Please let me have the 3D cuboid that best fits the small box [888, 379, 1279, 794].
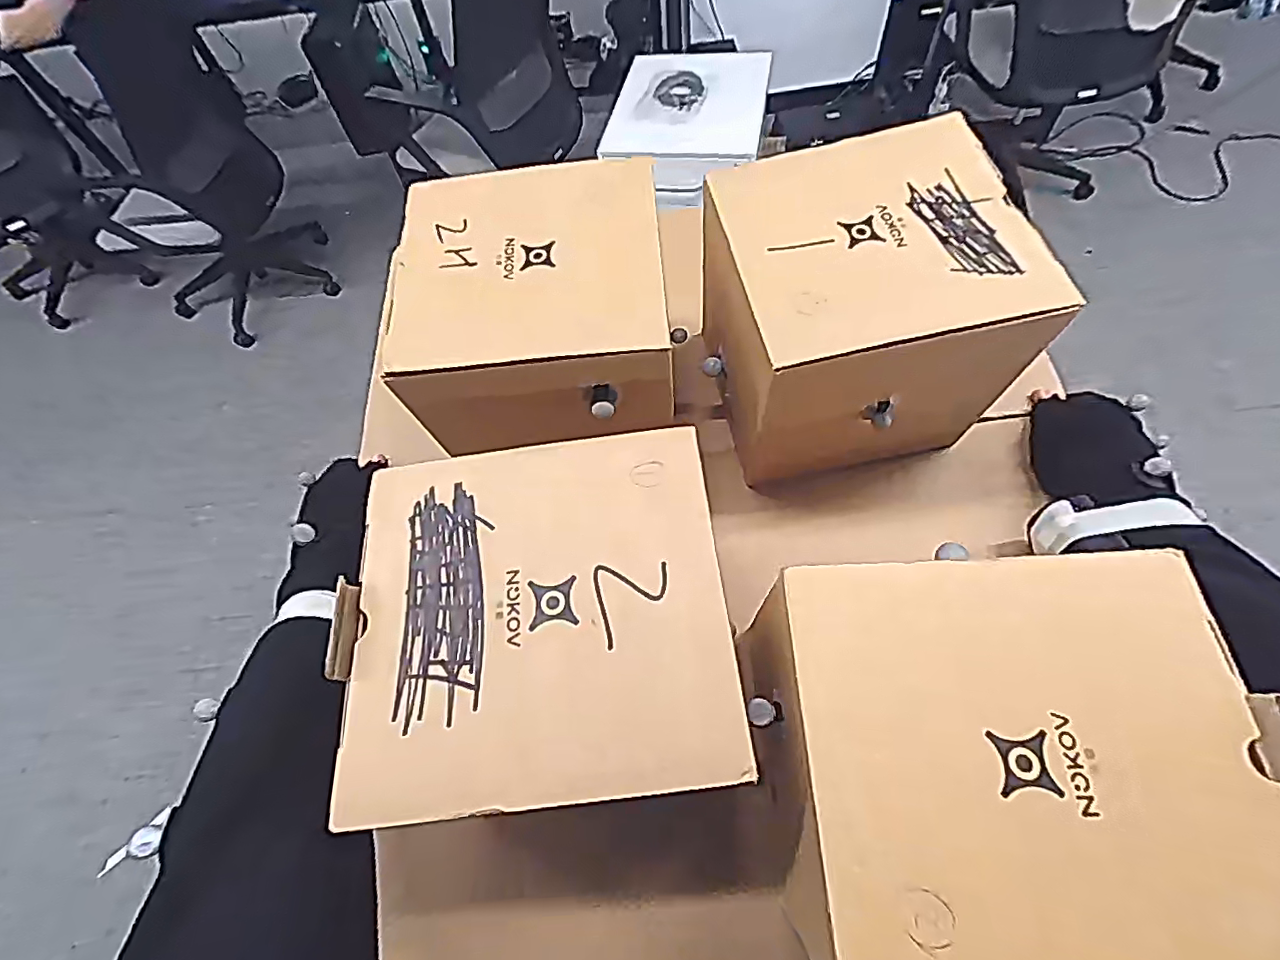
[{"bbox_3d":[0.255,0.061,0.295,0.179,0.176,0.168,8,73,9],"label":"small box"}]
